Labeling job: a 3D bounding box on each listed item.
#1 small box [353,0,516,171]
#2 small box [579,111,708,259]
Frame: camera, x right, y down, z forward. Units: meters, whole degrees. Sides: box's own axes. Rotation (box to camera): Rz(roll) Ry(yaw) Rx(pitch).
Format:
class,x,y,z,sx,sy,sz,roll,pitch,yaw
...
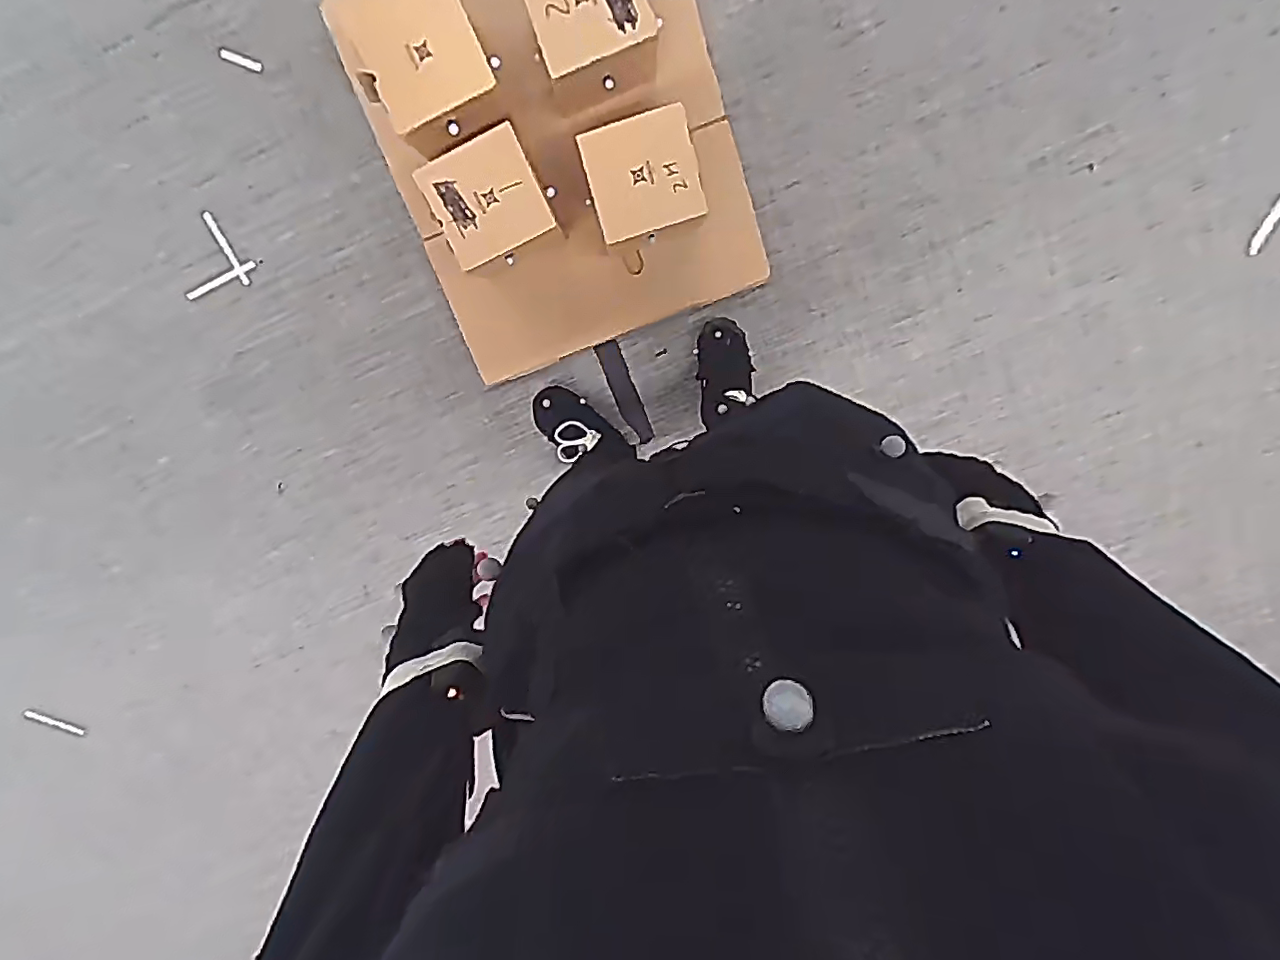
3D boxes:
class,x,y,z,sx,sy,sz,roll,pitch,yaw
small box,-0.321,-0.649,0.896,0.179,0.176,0.168,-23,104,7
small box,0.008,-0.498,0.942,0.179,0.176,0.168,-16,105,3
